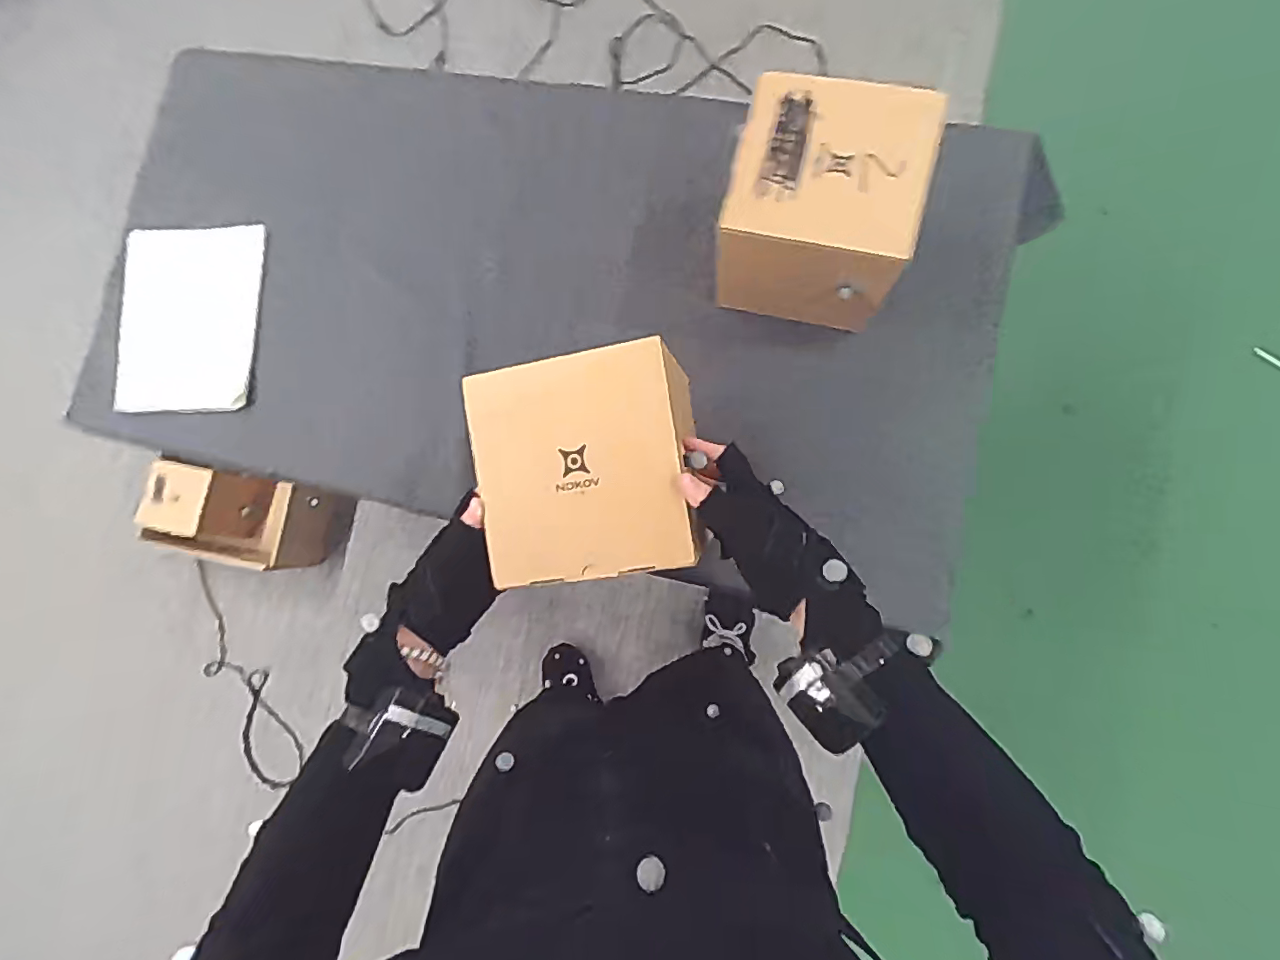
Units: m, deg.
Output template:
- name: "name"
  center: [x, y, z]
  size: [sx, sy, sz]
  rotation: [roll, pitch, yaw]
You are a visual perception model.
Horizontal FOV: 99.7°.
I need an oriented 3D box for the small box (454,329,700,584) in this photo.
- name: "small box"
  center: [-0.042, -0.016, 0.488]
  size: [0.168, 0.176, 0.179]
  rotation: [-9, 90, 10]
